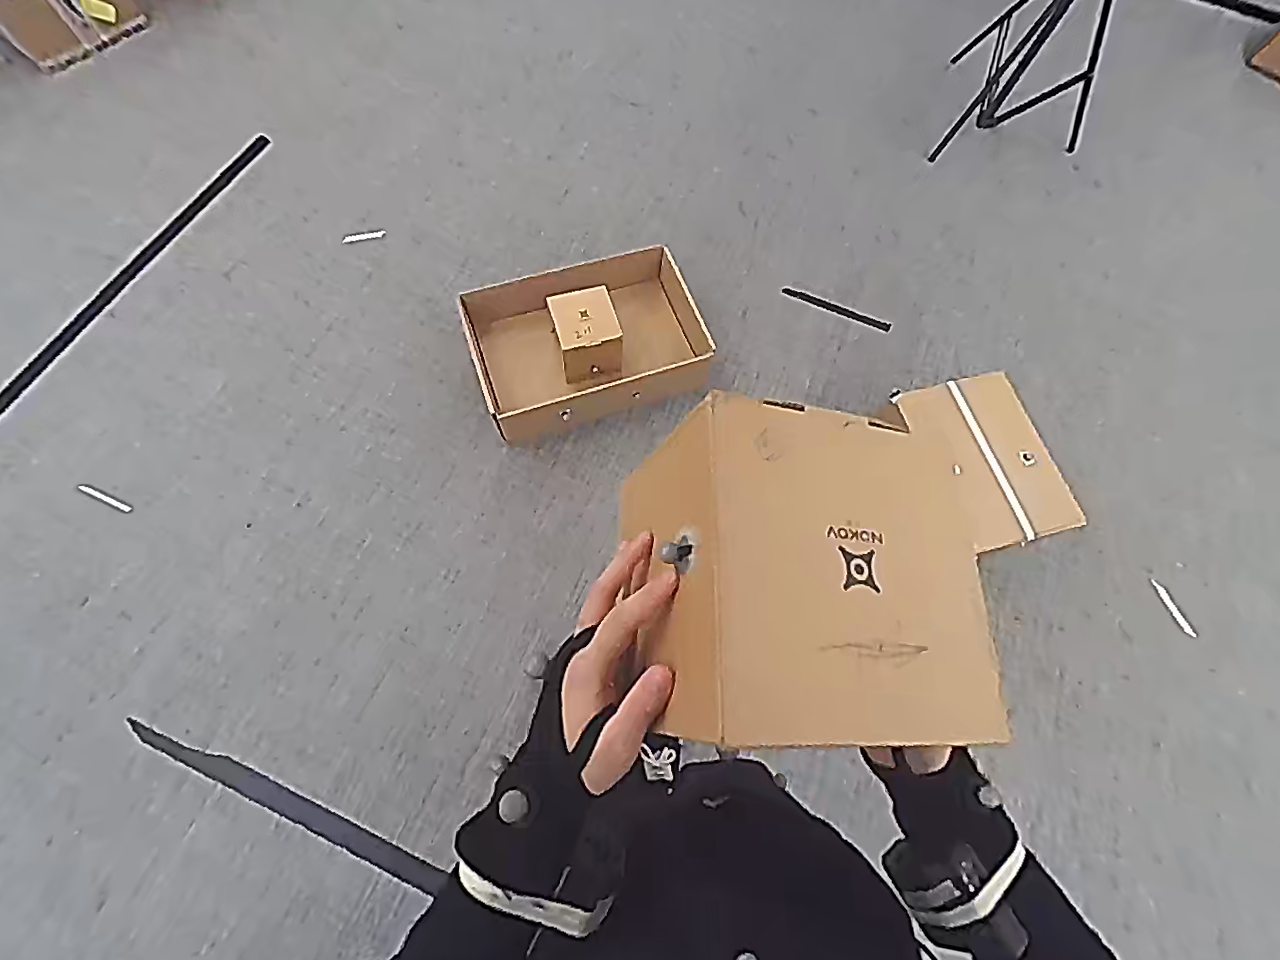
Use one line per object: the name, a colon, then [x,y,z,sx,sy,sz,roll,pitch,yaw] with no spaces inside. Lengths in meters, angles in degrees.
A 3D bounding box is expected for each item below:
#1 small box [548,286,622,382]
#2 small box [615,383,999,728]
small box: [-0.152,-0.403,1.502,0.168,0.176,0.179,-15,71,-9]
small box: [0.085,0.065,0.359,0.168,0.176,0.179,8,68,-18]
